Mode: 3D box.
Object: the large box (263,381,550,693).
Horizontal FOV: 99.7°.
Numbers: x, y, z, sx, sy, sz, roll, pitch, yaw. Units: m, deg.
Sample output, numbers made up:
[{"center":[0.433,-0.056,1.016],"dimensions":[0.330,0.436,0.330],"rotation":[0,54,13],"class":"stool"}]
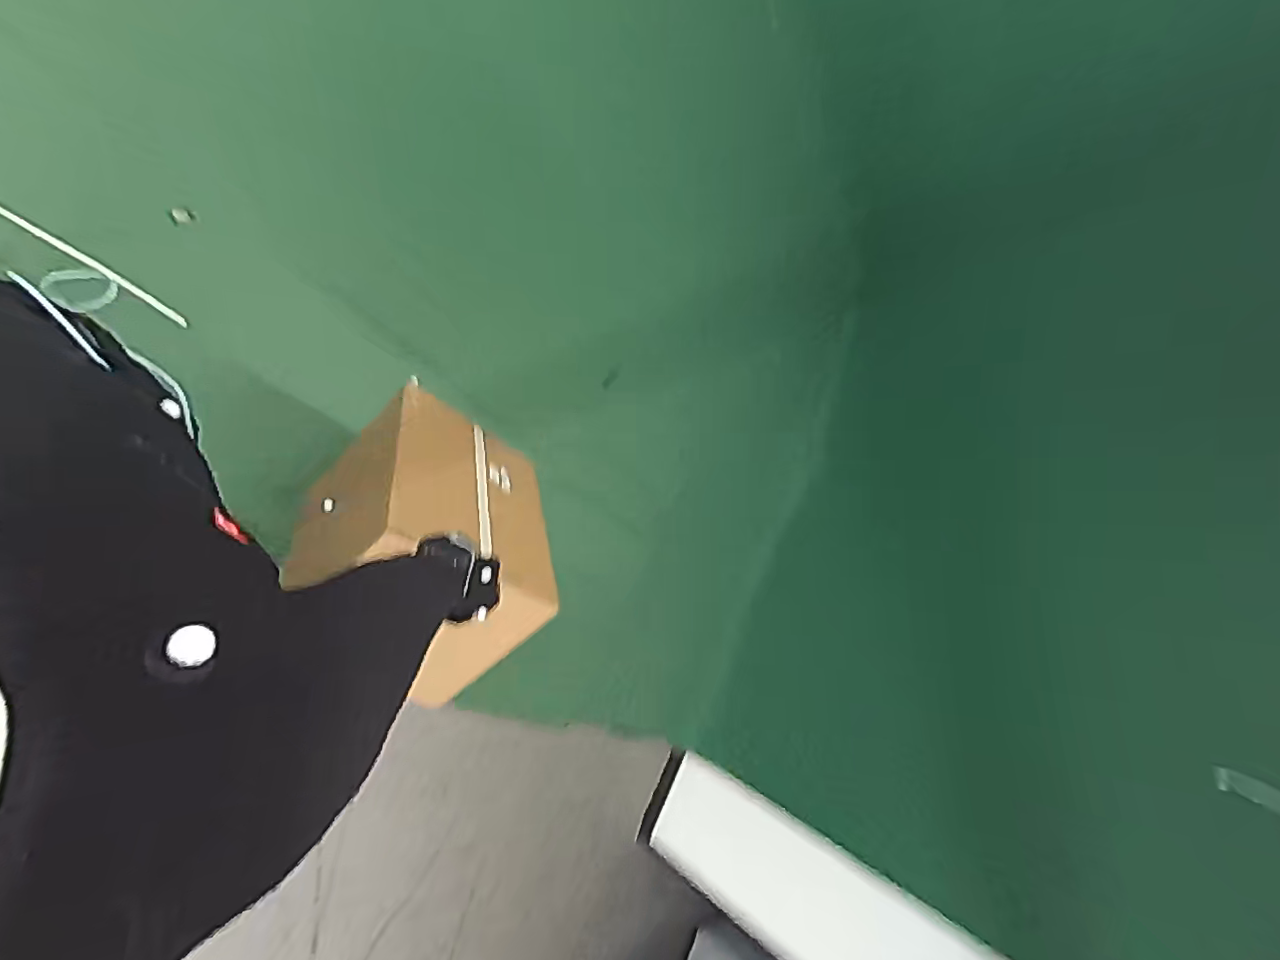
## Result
[{"center":[-0.405,0.104,0.983],"dimensions":[0.320,0.408,0.320],"rotation":[-40,129,14],"class":"large box"}]
